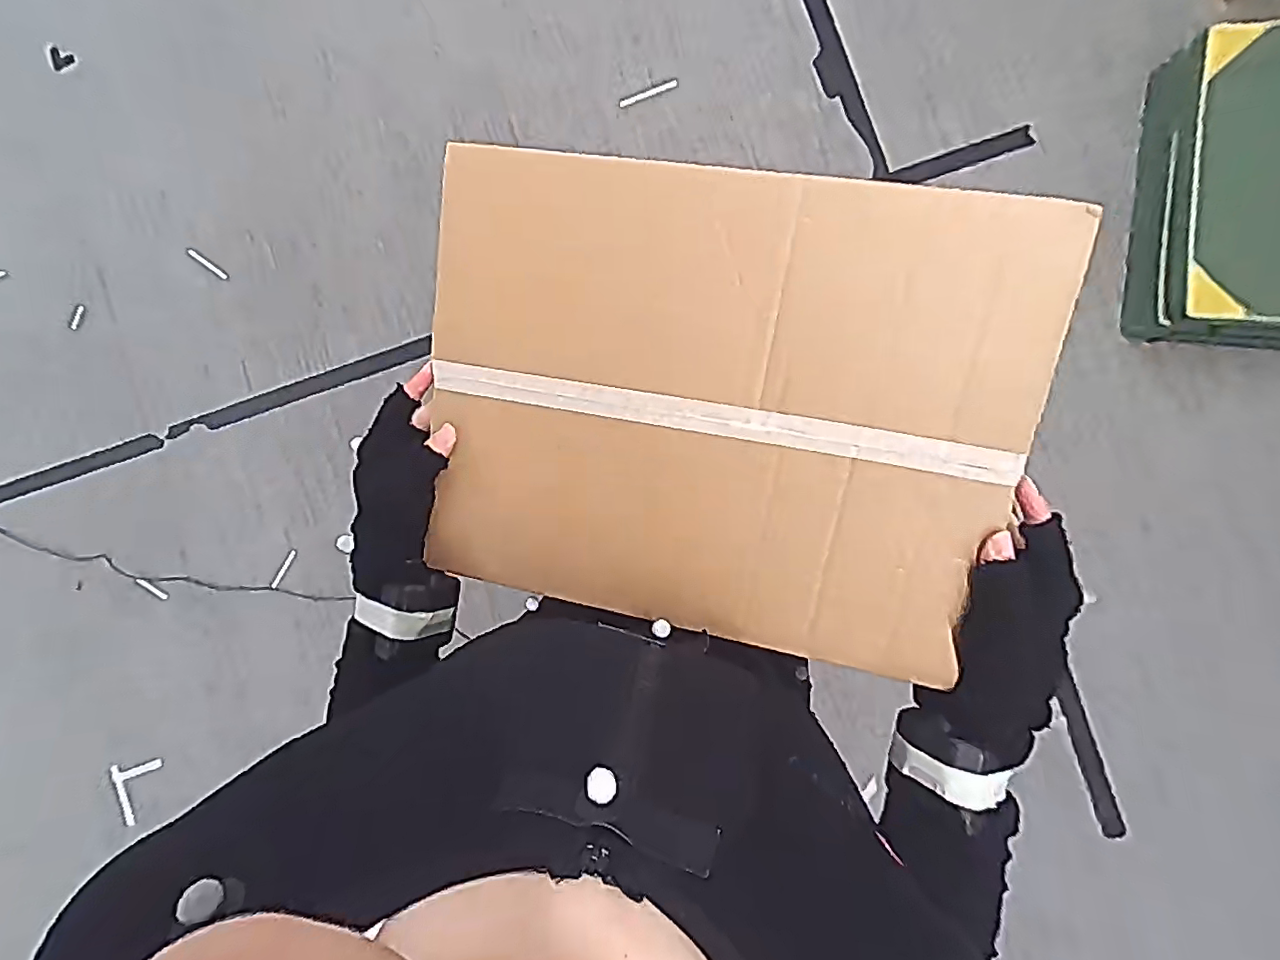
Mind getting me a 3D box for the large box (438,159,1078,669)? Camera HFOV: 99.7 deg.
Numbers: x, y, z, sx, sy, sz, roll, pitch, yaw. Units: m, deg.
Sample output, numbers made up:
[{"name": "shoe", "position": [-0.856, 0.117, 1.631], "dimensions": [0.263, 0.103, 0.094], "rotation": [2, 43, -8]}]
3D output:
[{"name": "large box", "position": [0.074, -0.073, 0.525], "dimensions": [0.408, 0.320, 0.320], "rotation": [11, 104, 10]}]
